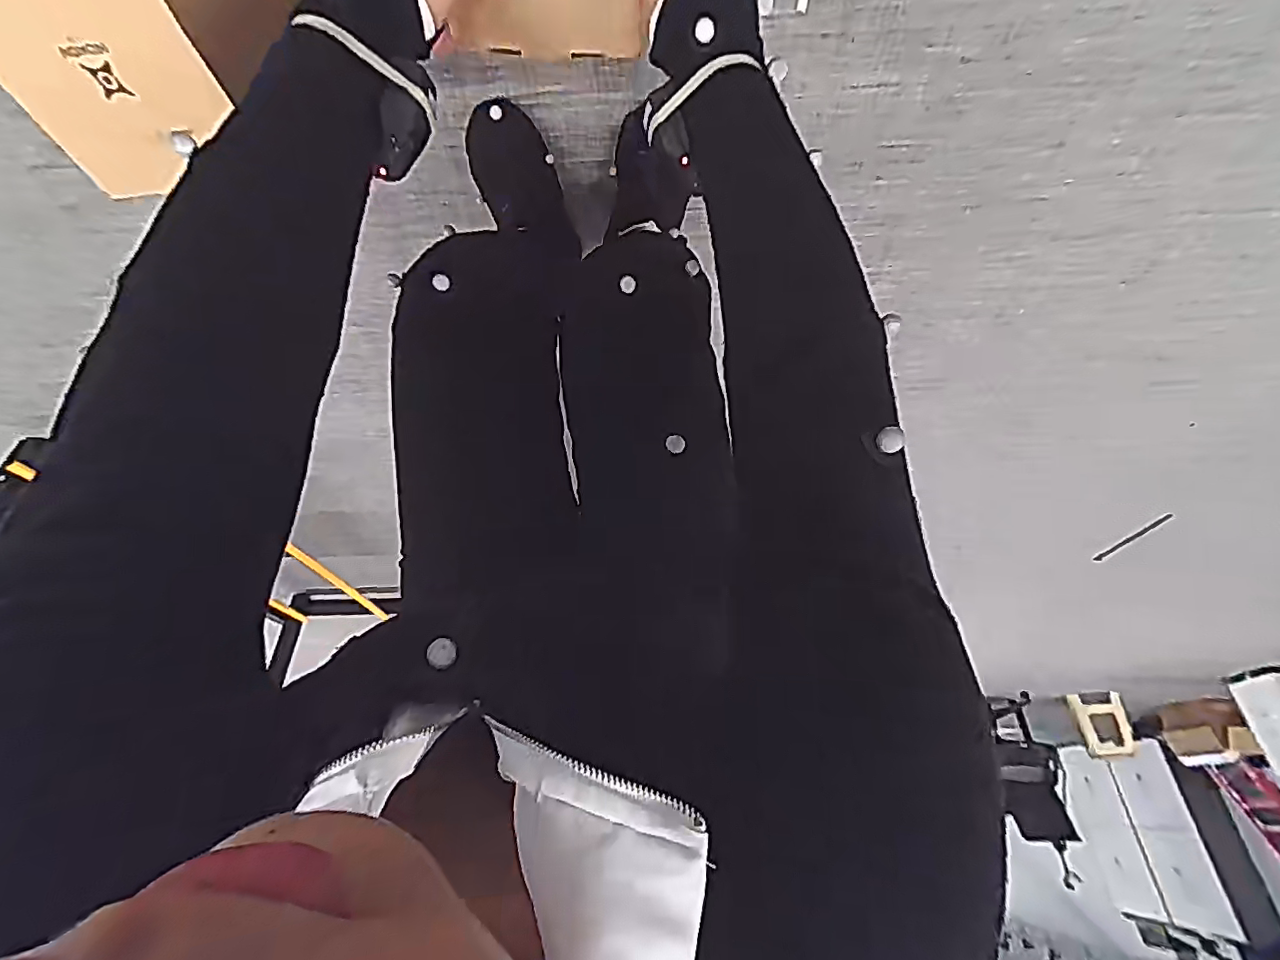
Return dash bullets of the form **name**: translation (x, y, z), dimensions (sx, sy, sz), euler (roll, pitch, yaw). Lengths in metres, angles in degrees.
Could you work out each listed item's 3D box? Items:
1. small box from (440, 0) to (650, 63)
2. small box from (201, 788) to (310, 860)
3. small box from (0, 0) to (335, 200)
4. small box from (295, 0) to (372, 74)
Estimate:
- **small box**: translation (-0.076, -0.489, 0.456), dimensions (0.168, 0.176, 0.179), euler (5, 142, 3)
- **small box**: translation (-1.115, 1.008, 1.586), dimensions (0.179, 0.176, 0.168), euler (-1, 149, 1)
- **small box**: translation (-0.387, -0.362, 0.433), dimensions (0.168, 0.176, 0.179), euler (-2, 150, 6)
- **small box**: translation (-0.392, -0.502, 0.515), dimensions (0.179, 0.176, 0.168), euler (-3, 149, 3)
